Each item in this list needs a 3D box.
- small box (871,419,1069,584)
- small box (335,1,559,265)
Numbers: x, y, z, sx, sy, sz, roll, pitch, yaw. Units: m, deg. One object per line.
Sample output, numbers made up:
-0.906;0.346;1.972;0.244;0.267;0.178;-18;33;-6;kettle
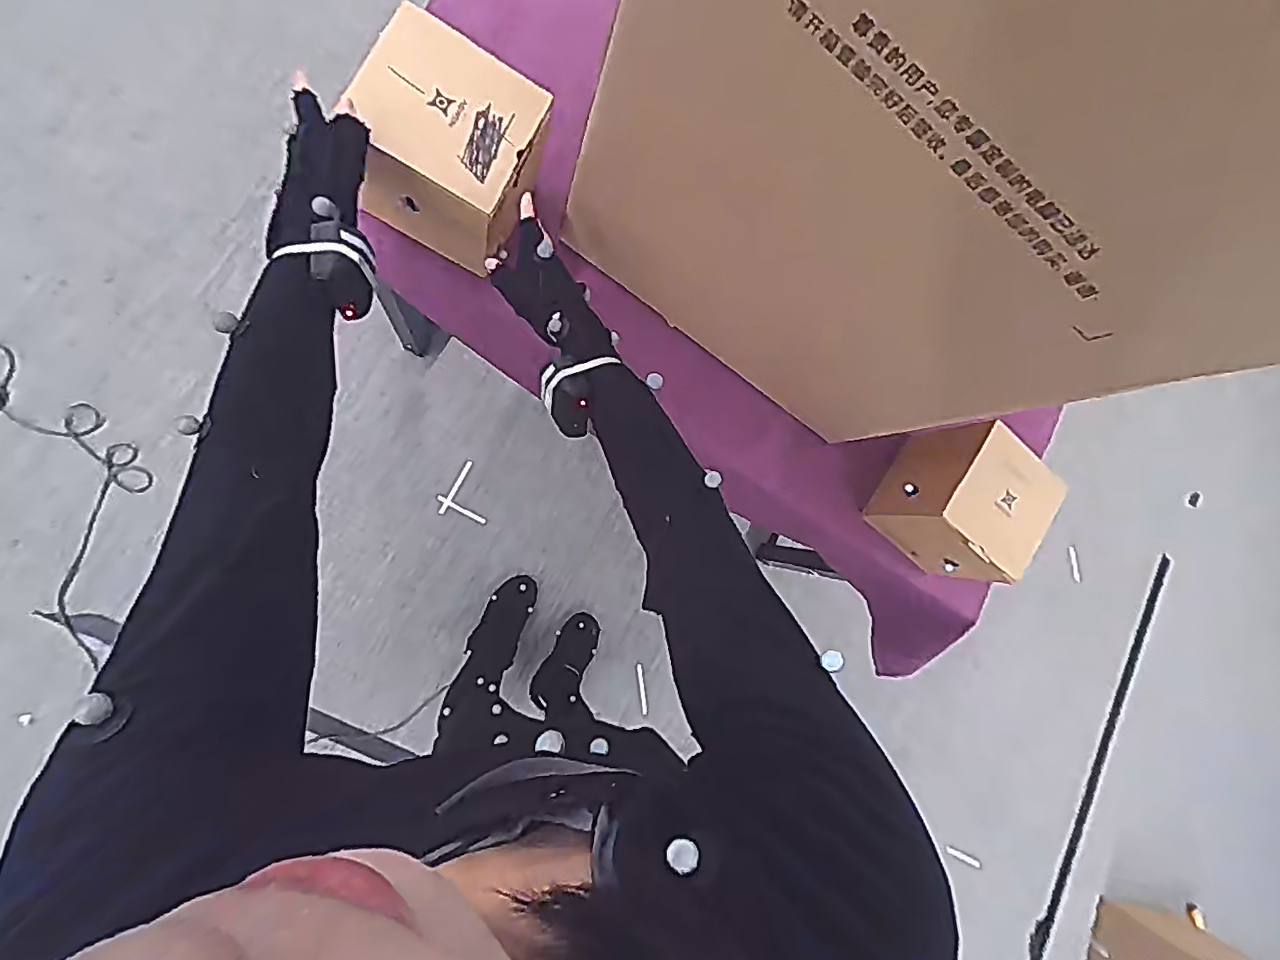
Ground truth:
0.493;0.036;0.832;0.168;0.176;0.179;38;76;-11;small box
-0.220;-0.388;0.647;0.179;0.176;0.168;27;79;-14;small box
